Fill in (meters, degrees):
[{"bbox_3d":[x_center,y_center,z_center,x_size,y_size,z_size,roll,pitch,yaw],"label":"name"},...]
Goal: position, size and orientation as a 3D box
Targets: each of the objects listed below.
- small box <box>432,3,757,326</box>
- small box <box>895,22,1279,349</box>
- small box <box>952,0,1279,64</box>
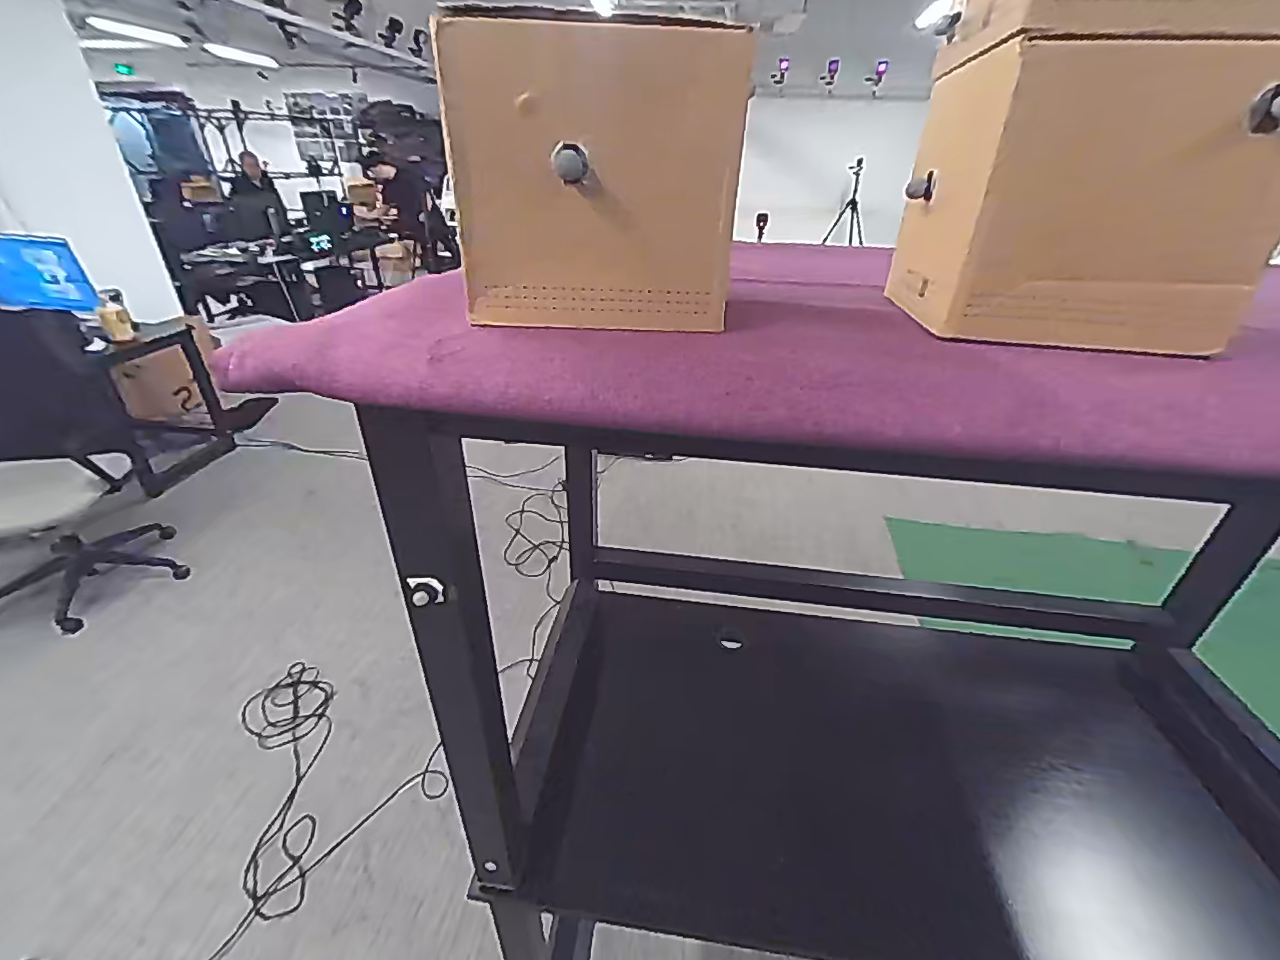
[{"bbox_3d":[-0.026,-0.216,0.392,0.179,0.176,0.168,0,32,-2],"label":"small box"},{"bbox_3d":[0.302,-0.198,0.388,0.179,0.176,0.168,6,30,7],"label":"small box"},{"bbox_3d":[0.308,-0.343,0.310,0.179,0.176,0.168,7,30,6],"label":"small box"}]
